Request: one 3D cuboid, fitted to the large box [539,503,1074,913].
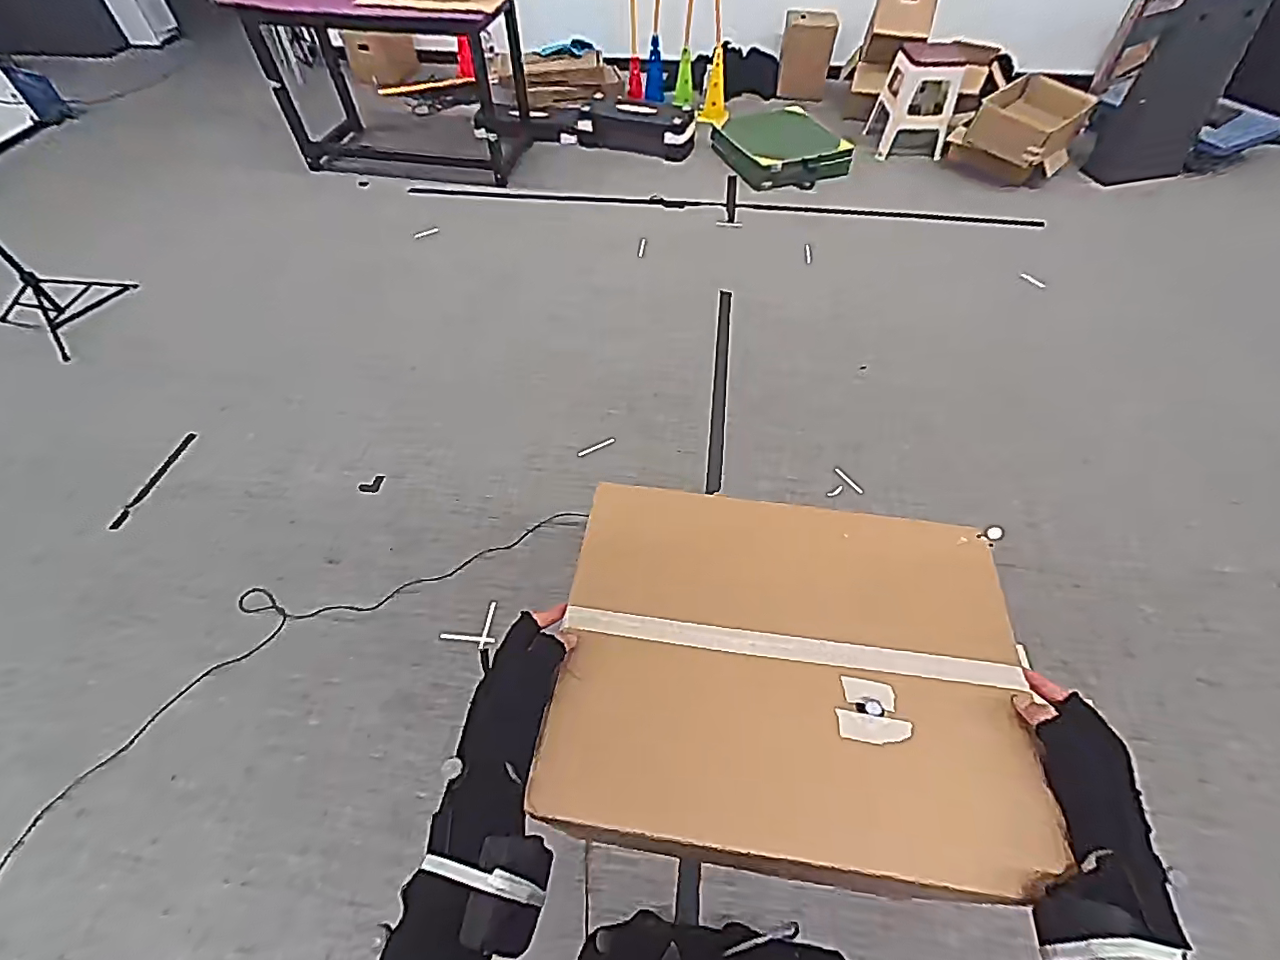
[{"bbox_3d":[0.134,0.254,0.606,0.408,0.320,0.320,7,55,5],"label":"large box"}]
